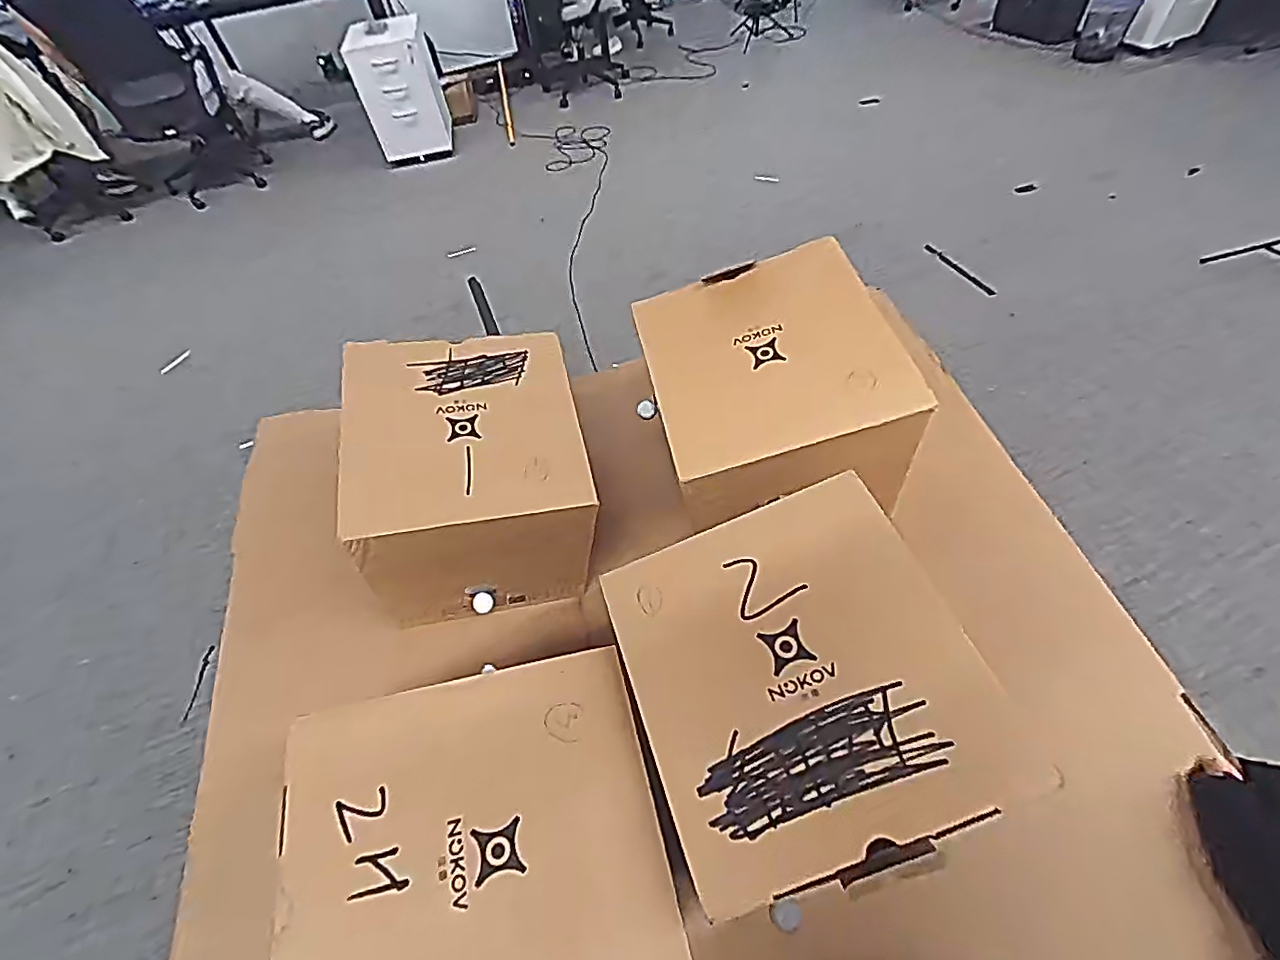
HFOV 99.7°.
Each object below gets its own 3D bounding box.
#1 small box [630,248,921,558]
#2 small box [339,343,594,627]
[{"bbox_3d":[0.104,-0.050,0.454,0.168,0.176,0.179,-17,57,6],"label":"small box"},{"bbox_3d":[-0.140,0.005,0.467,0.168,0.176,0.179,-6,57,-14],"label":"small box"}]
